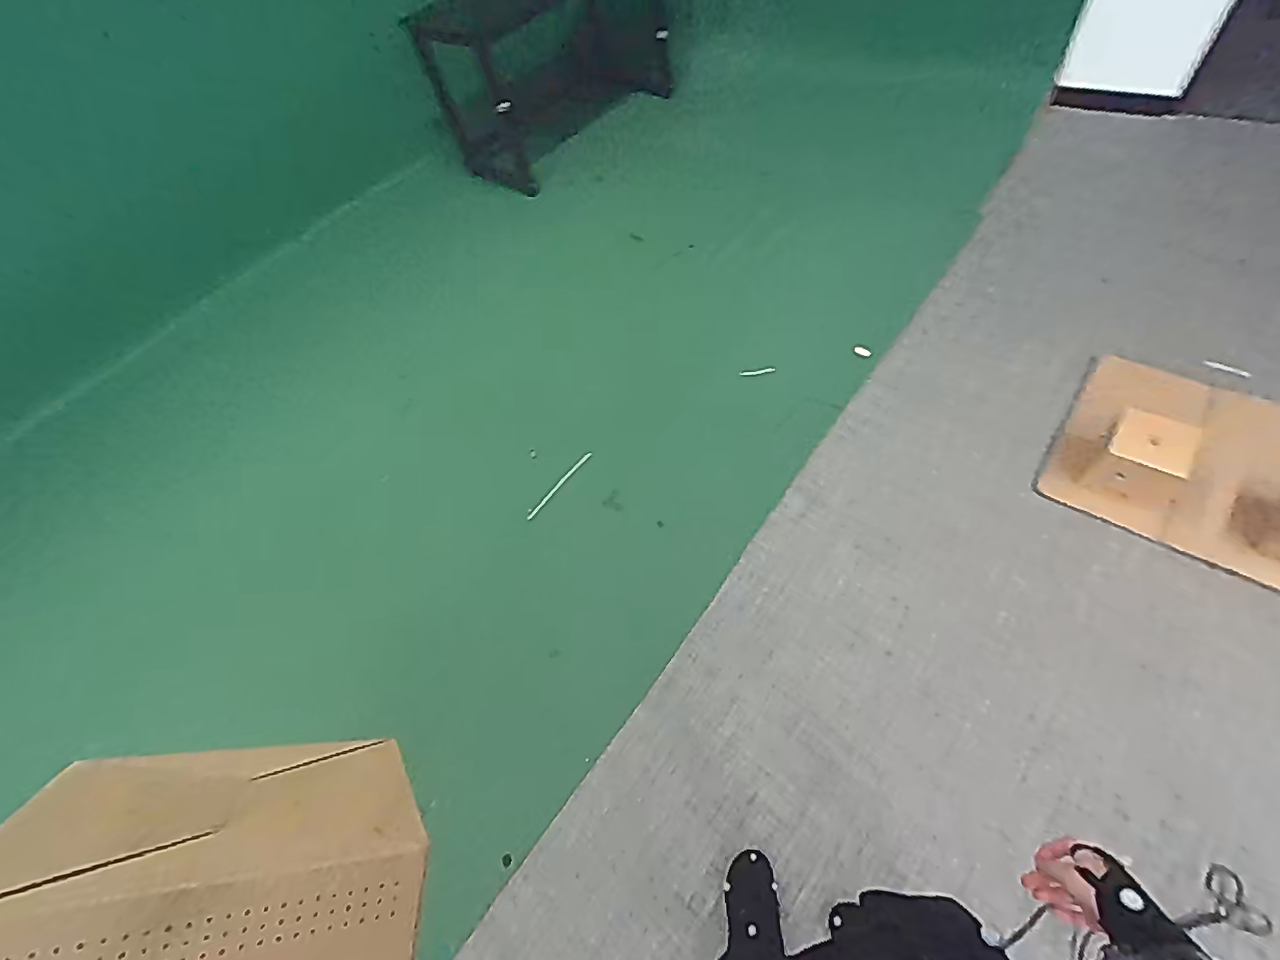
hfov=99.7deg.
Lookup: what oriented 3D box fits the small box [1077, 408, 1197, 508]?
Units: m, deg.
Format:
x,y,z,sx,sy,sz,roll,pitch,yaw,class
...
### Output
x,y,z,sx,sy,sz,roll,pitch,yaw,class
1.319,-0.055,1.448,0.168,0.176,0.179,28,66,26,small box
